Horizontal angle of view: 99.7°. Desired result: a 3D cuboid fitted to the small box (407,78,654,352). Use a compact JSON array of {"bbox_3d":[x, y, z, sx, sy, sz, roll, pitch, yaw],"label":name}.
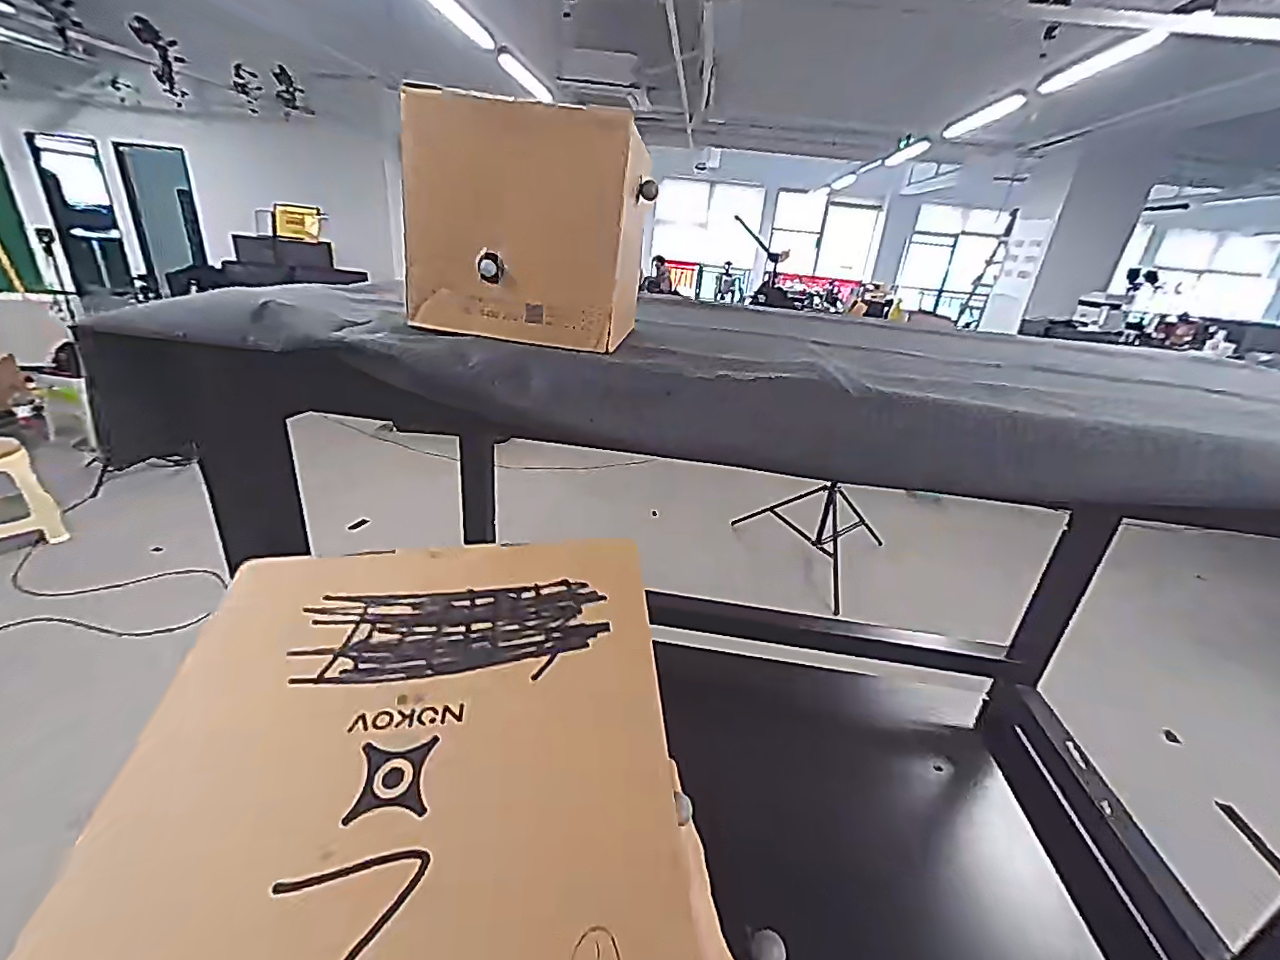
[{"bbox_3d":[-0.085,-0.218,0.475,0.168,0.176,0.179,8,23,2],"label":"small box"}]
